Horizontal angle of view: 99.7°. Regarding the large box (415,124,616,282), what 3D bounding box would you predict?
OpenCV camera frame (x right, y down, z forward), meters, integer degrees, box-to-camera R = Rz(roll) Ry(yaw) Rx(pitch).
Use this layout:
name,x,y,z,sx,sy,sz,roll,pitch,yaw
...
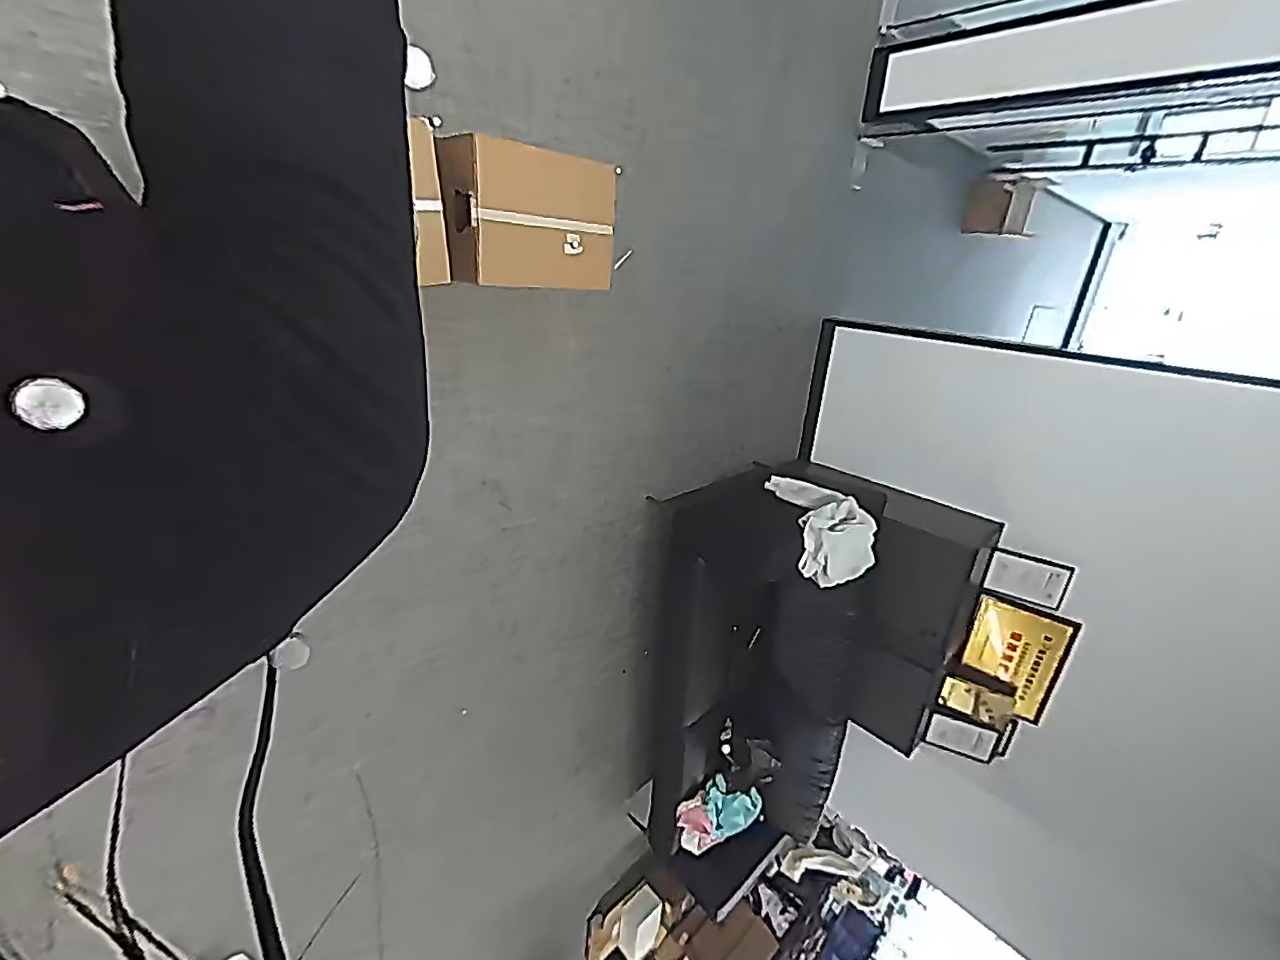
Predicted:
name,x,y,z,sx,sy,sz,roll,pitch,yaw
large box,-0.319,-0.696,1.410,0.408,0.320,0.320,-16,121,-42
